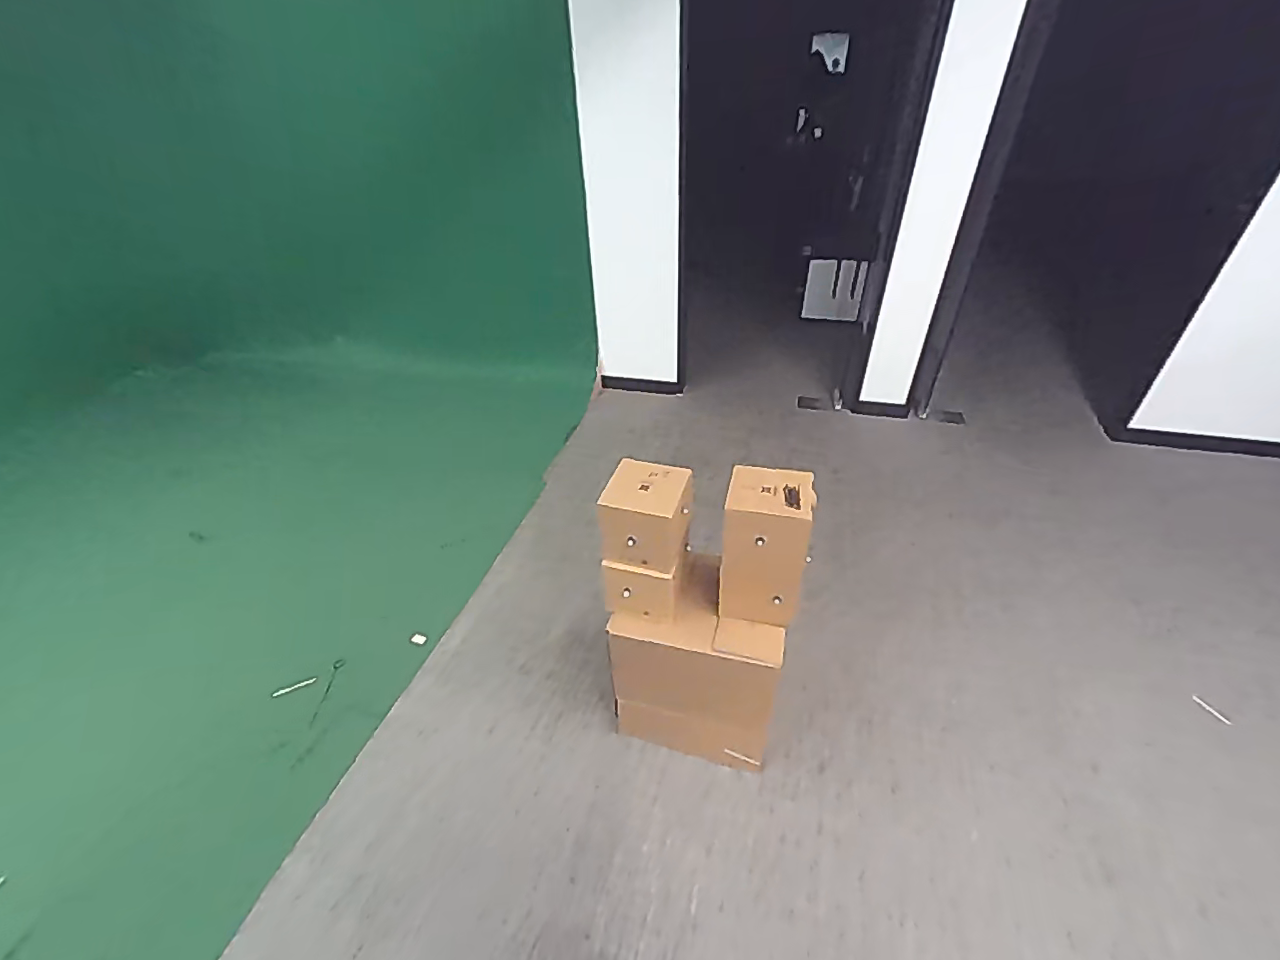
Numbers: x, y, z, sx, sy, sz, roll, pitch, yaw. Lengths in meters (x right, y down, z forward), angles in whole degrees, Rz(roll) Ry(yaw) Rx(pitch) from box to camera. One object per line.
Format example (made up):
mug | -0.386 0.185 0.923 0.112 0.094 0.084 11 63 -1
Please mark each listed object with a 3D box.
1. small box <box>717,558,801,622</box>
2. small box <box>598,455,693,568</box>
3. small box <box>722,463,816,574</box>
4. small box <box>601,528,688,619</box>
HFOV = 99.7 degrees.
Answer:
small box | 0.286 0.216 1.290 0.179 0.176 0.168 7 38 14
small box | 0.017 0.071 1.218 0.168 0.176 0.179 12 40 15
small box | 0.282 0.086 1.190 0.179 0.176 0.168 7 38 15
small box | 0.016 0.209 1.309 0.168 0.176 0.179 10 39 14
